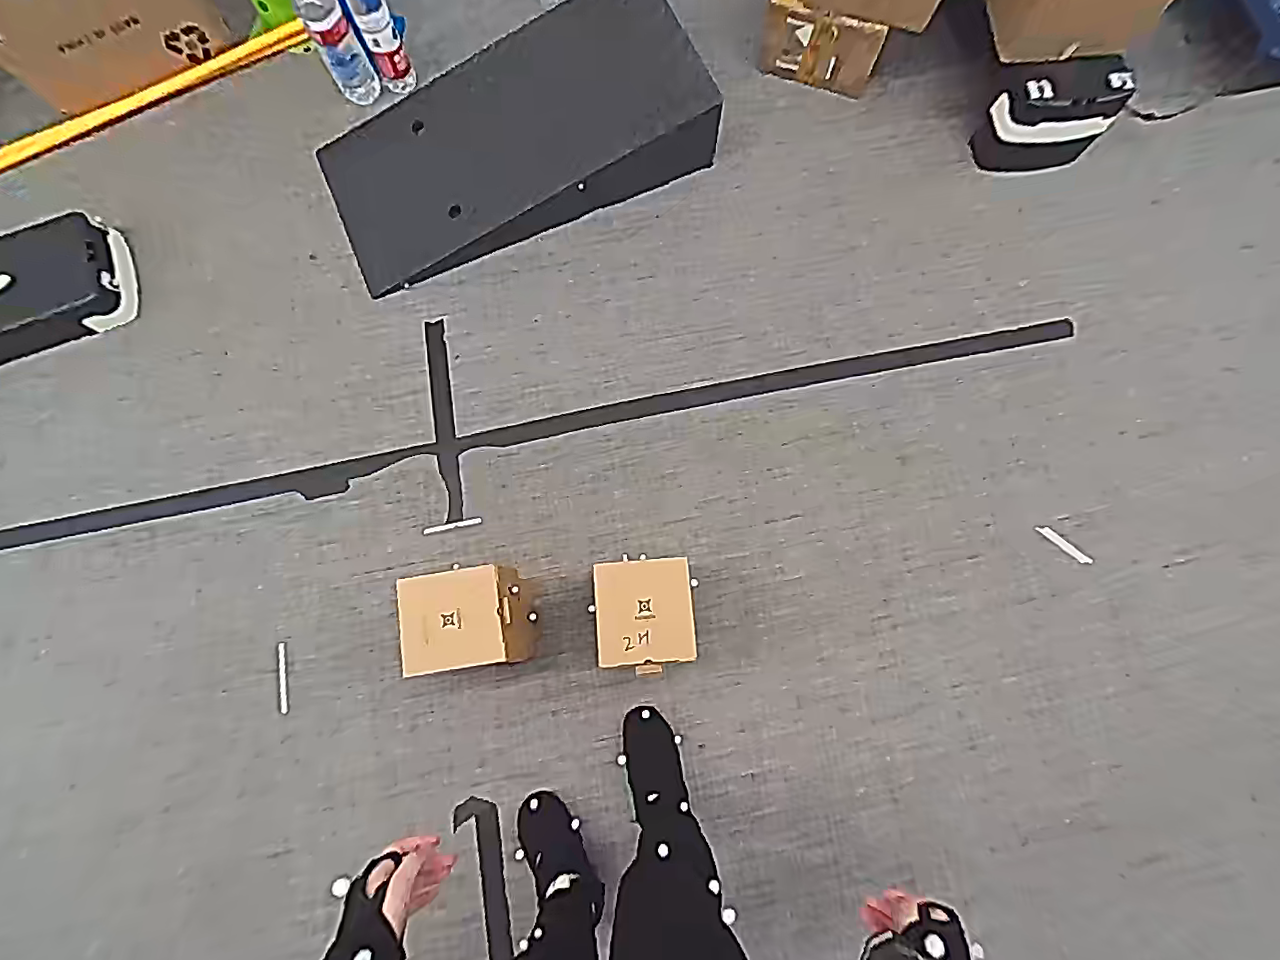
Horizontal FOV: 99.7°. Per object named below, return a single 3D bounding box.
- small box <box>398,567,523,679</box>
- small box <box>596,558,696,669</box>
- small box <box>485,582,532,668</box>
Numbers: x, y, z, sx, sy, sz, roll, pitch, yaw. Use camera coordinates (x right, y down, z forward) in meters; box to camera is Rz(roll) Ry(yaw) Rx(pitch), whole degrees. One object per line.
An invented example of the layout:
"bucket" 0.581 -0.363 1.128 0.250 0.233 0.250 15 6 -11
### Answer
"small box" -0.317 0.254 0.985 0.179 0.176 0.168 -8 77 -1
"small box" 0.007 0.242 0.988 0.168 0.176 0.179 -4 78 -1
"small box" -0.325 0.303 1.142 0.179 0.176 0.168 -4 77 -2
